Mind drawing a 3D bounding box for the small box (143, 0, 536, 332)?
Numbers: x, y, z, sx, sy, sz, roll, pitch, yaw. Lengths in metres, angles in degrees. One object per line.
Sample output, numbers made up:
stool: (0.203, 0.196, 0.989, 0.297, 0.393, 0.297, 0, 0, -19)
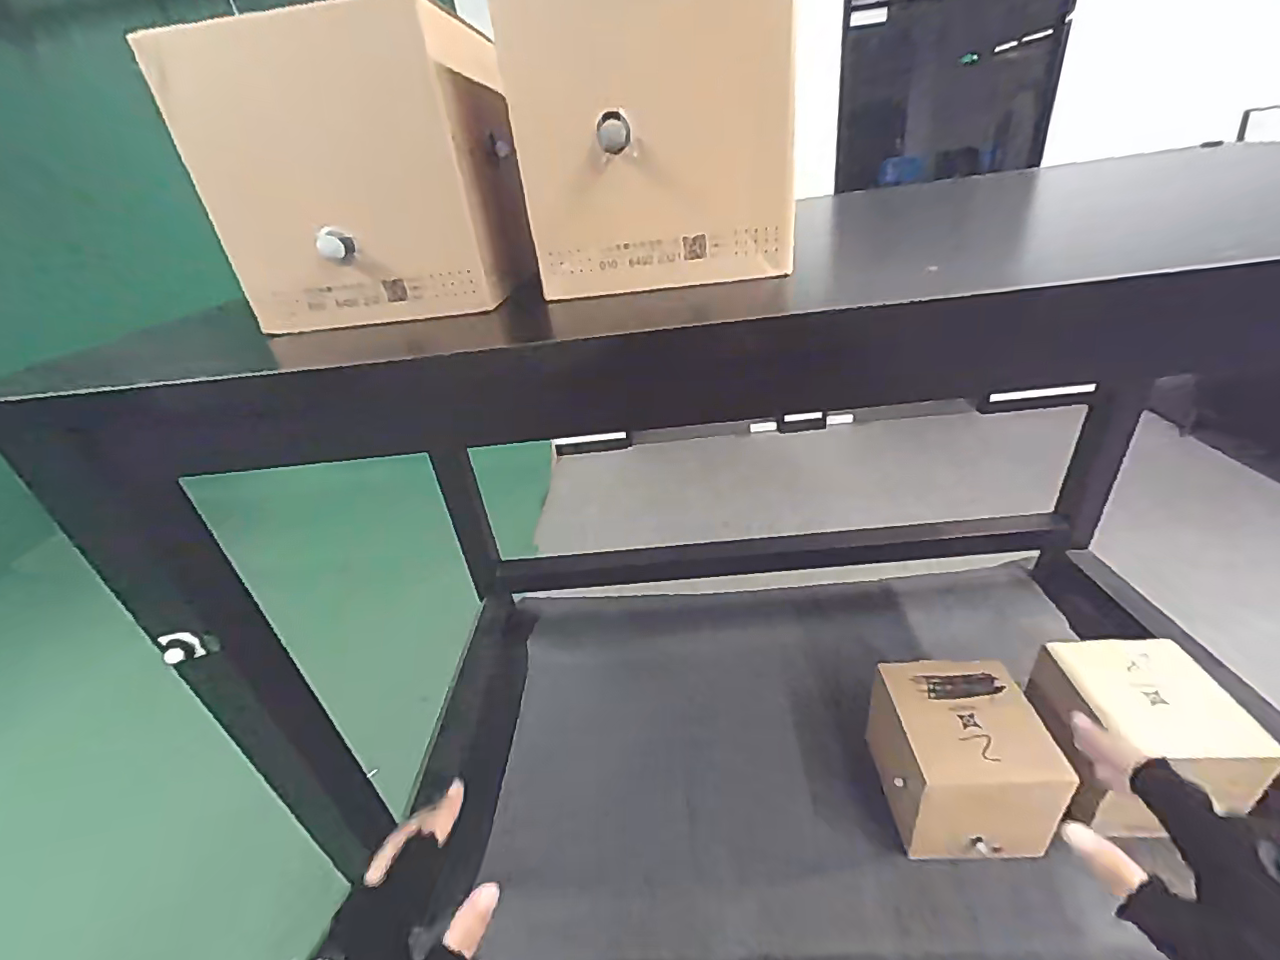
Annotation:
small box: (-0.183, -0.218, 0.401, 0.168, 0.176, 0.179, -4, 32, 5)

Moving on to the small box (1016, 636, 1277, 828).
small box: (0.644, 0.333, 0.719, 0.168, 0.176, 0.179, -4, 30, 7)

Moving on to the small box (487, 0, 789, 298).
small box: (0.013, -0.236, 0.391, 0.168, 0.176, 0.179, -4, 30, 6)
